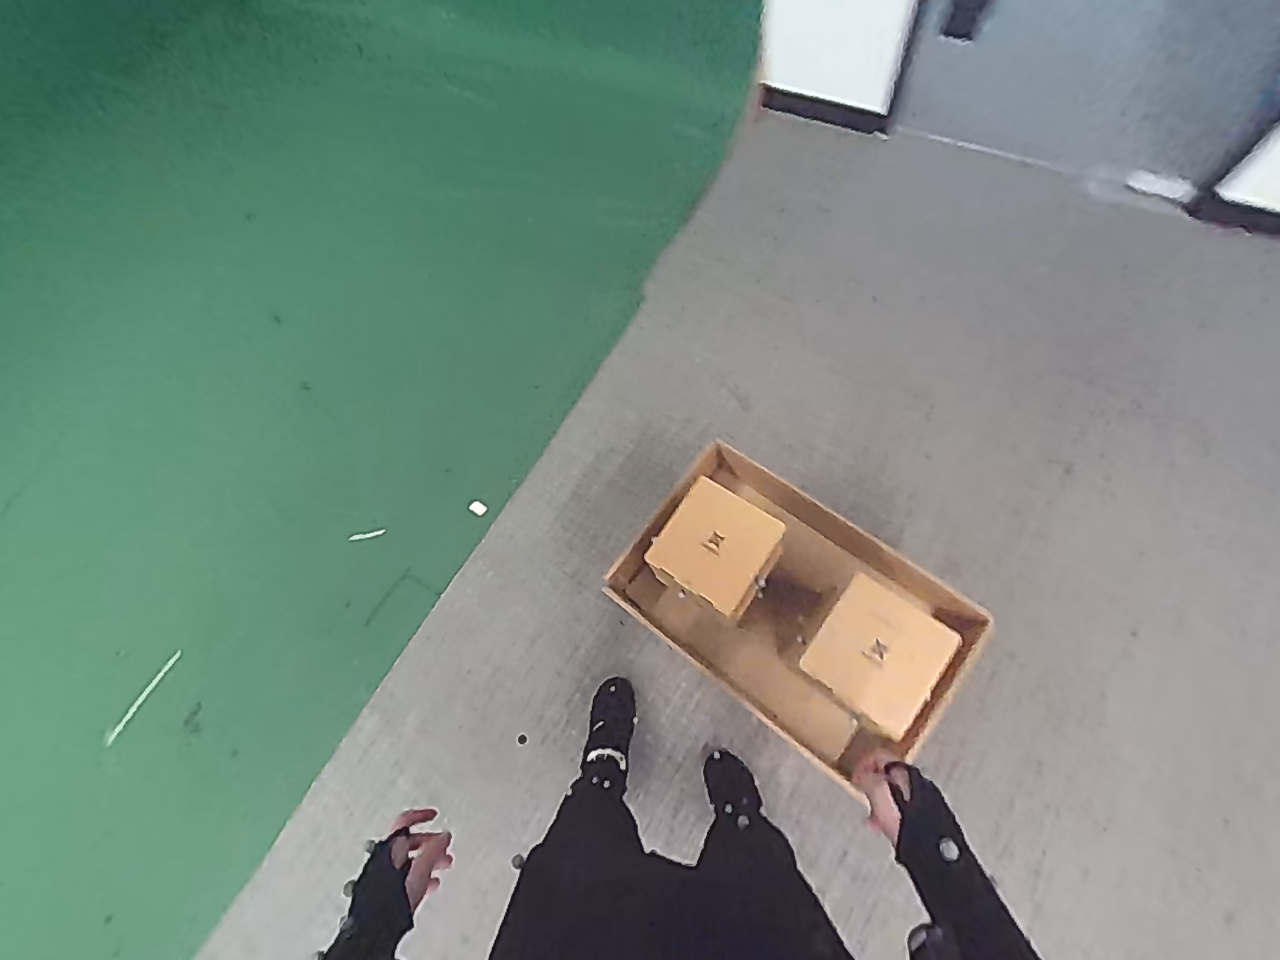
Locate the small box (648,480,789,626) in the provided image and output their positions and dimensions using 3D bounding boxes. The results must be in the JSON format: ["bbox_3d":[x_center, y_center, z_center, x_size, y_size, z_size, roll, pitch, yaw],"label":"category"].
[{"bbox_3d":[0.135,0.133,0.941,0.168,0.176,0.179,33,79,18],"label":"small box"}]

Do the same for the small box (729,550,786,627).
[{"bbox_3d":[0.170,0.182,1.093,0.179,0.176,0.168,34,78,18],"label":"small box"}]

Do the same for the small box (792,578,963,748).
[{"bbox_3d":[0.355,0.284,0.846,0.168,0.176,0.179,36,78,19],"label":"small box"}]
